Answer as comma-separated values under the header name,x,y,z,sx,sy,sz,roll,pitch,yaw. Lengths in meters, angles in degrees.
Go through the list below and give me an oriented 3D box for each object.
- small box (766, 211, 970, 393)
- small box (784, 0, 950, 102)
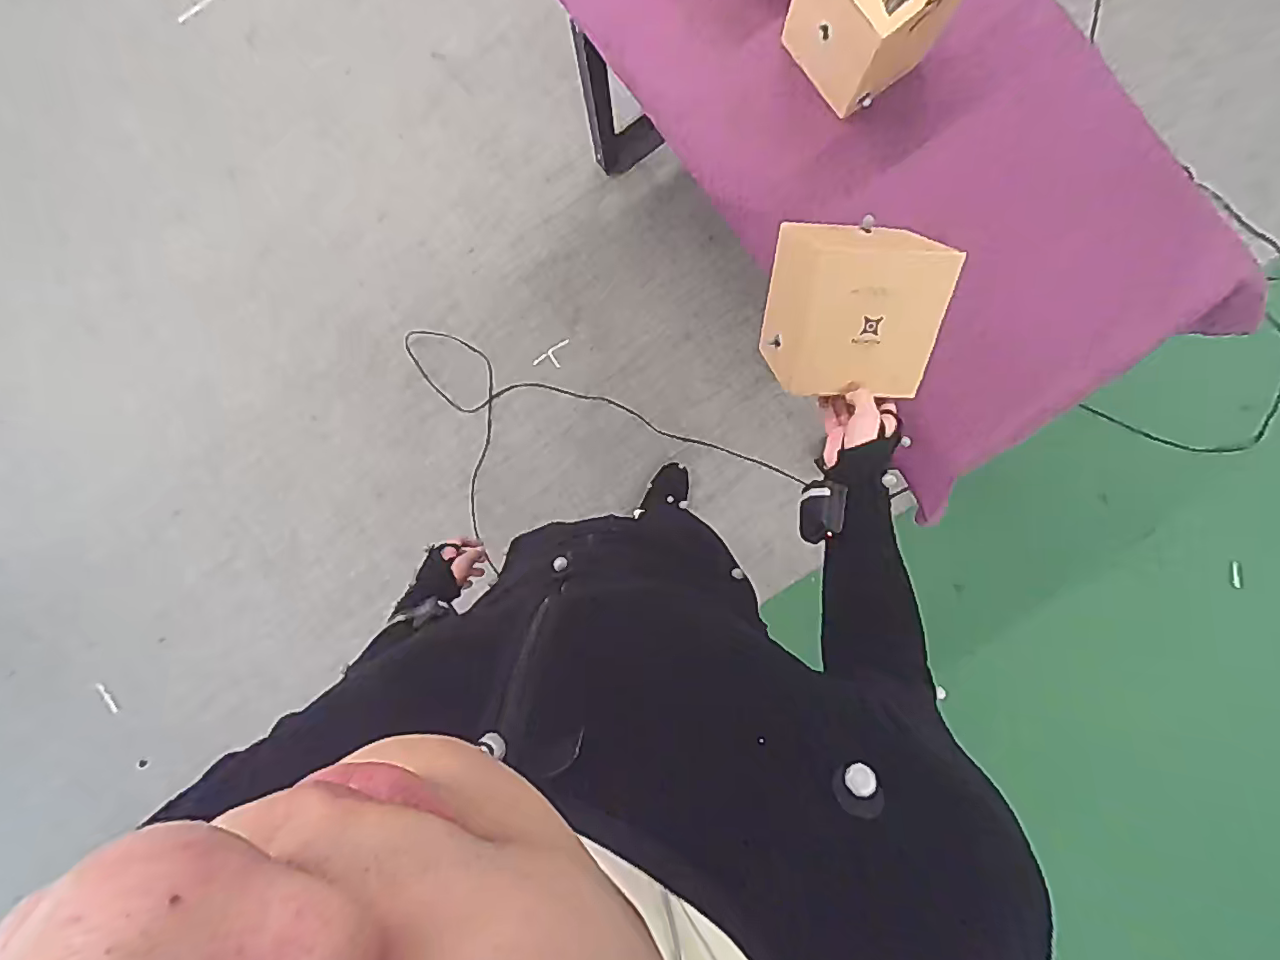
name,x,y,z,sx,sy,sz,roll,pitch,yaw
small box,0.268,-0.228,0.687,0.168,0.176,0.179,2,124,-4
small box,0.346,-0.720,0.814,0.168,0.176,0.179,-36,88,1
